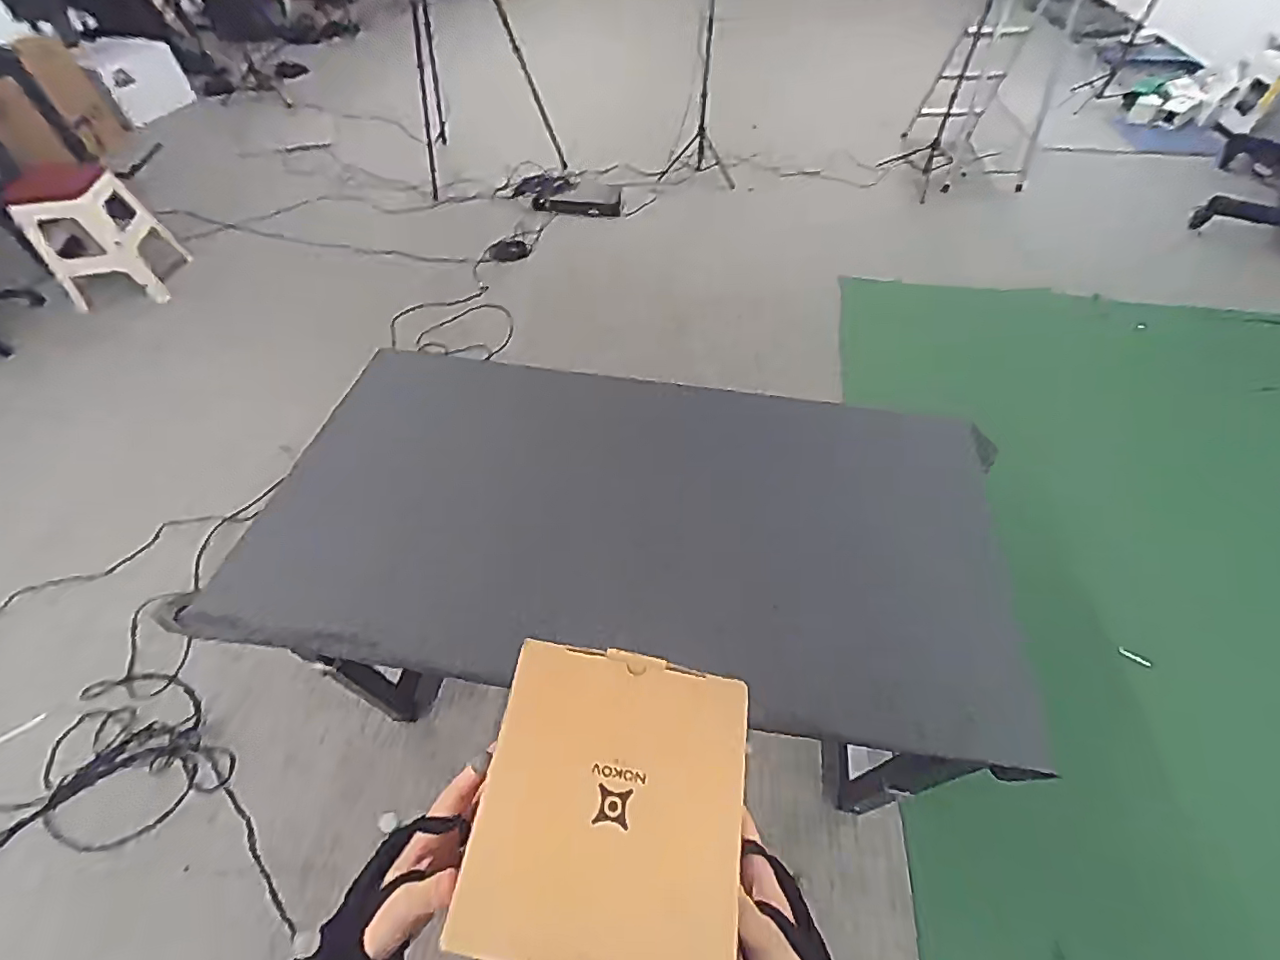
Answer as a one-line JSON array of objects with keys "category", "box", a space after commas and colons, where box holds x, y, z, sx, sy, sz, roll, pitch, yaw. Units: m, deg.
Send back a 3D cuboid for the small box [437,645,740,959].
[{"category": "small box", "box": [-0.028, 0.249, 0.410, 0.168, 0.176, 0.179, 11, 54, -1]}]
